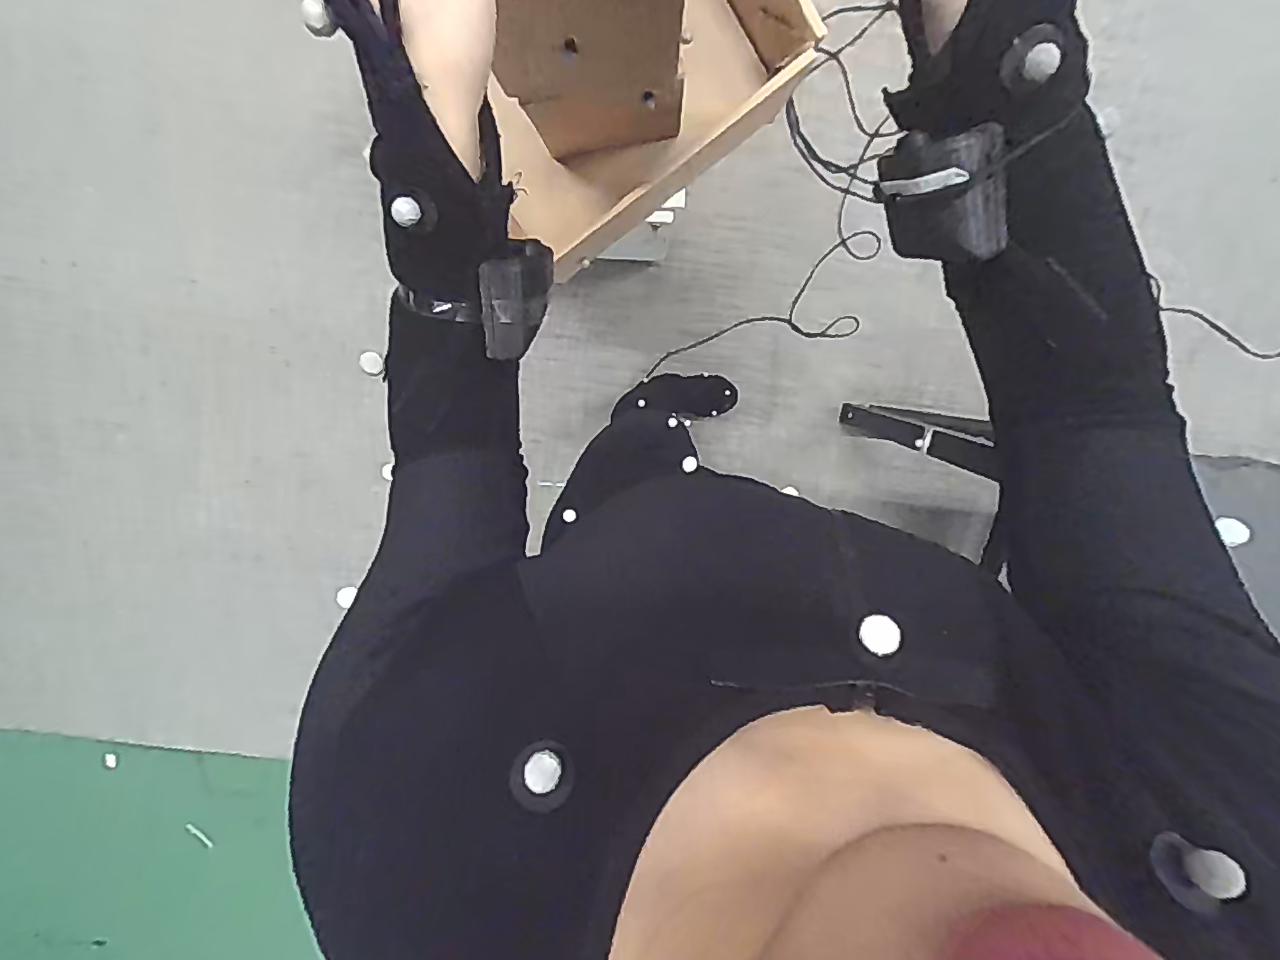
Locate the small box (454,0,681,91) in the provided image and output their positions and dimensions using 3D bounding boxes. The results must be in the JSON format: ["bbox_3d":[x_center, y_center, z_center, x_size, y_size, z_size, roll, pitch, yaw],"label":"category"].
[{"bbox_3d":[-0.055,-0.457,0.454,0.179,0.176,0.168,-1,103,3],"label":"small box"}]
